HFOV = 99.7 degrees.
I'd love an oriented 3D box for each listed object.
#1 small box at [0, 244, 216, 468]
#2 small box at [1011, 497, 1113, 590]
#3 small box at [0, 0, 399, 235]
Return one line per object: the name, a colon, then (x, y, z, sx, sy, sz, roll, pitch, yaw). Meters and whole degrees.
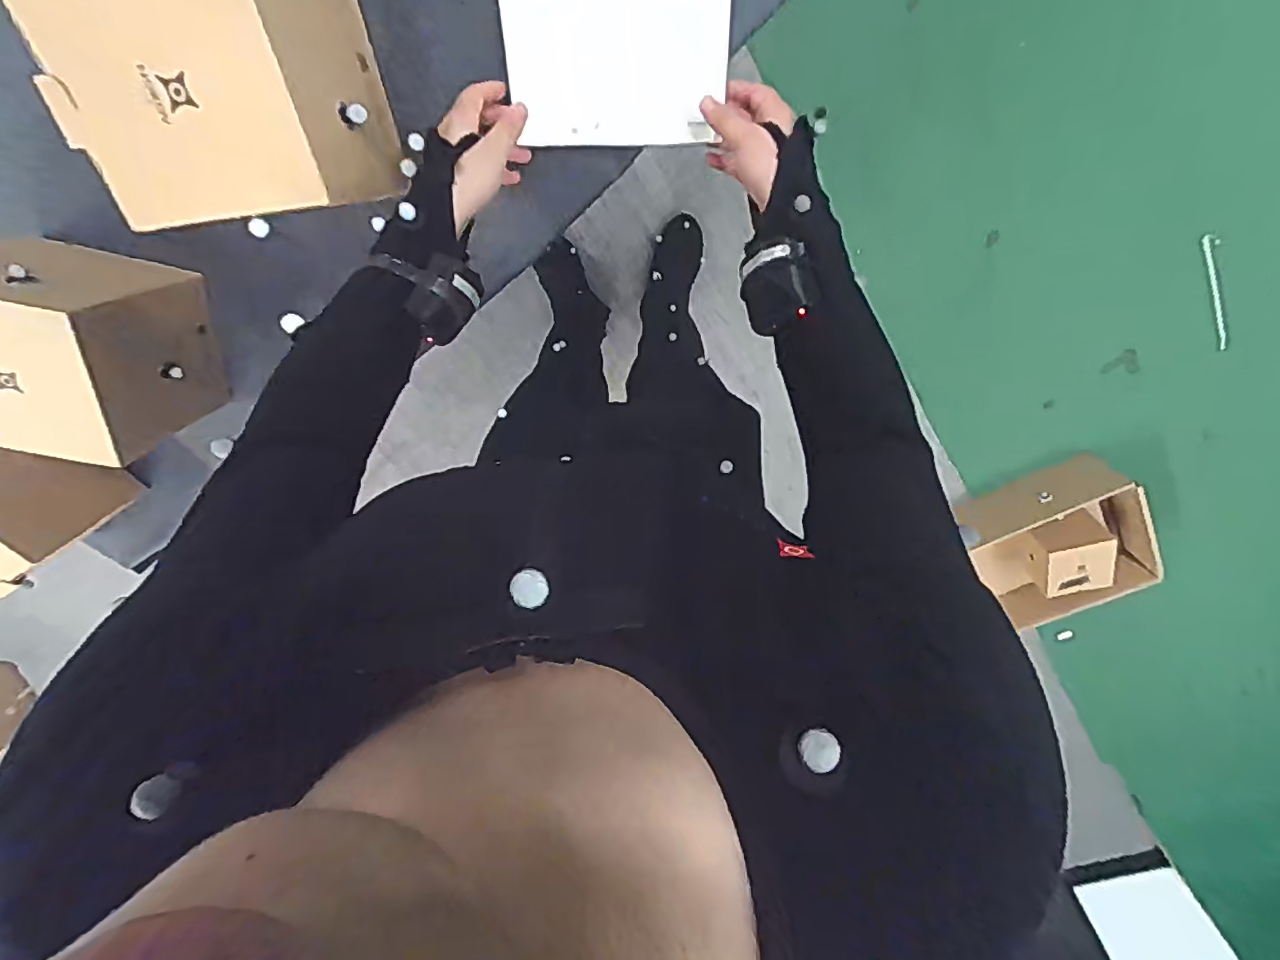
small box: (-0.595, -0.137, 0.574, 0.179, 0.176, 0.168, 12, 122, -5)
small box: (1.185, 0.178, 1.532, 0.168, 0.176, 0.179, -16, 122, 13)
small box: (-0.327, -0.315, 0.448, 0.179, 0.176, 0.168, -5, 122, 7)
